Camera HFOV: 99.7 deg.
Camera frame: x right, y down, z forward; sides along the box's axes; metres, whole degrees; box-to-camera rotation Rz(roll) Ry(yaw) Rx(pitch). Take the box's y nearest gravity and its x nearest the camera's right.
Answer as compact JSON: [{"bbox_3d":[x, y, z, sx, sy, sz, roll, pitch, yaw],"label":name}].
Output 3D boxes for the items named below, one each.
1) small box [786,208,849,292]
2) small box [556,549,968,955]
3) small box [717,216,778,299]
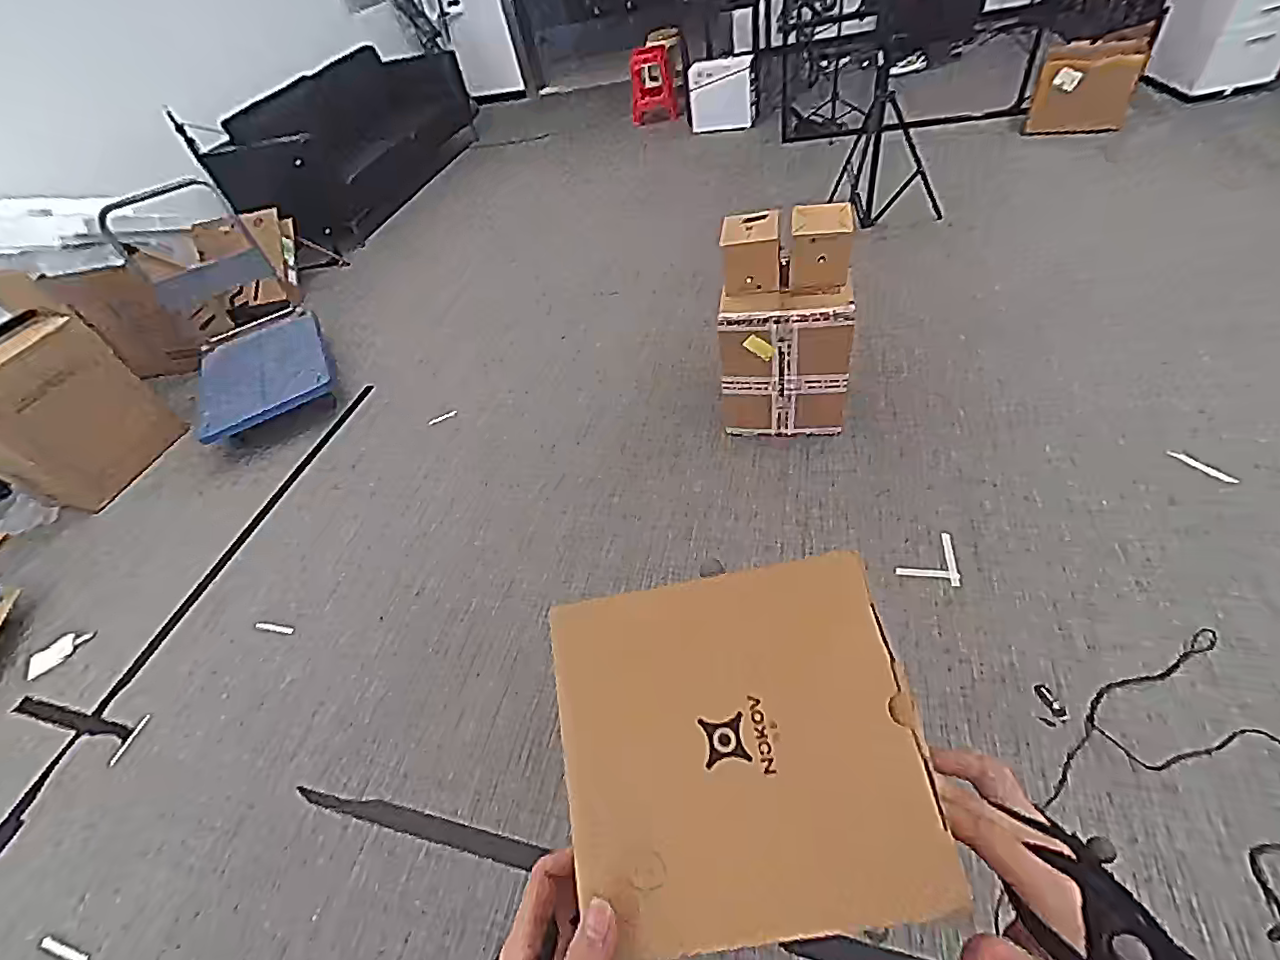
[{"bbox_3d":[0.525,-0.687,1.615,0.168,0.176,0.179,3,51,13],"label":"small box"},{"bbox_3d":[0.059,0.157,0.345,0.179,0.176,0.168,-11,67,3],"label":"small box"},{"bbox_3d":[0.335,-0.681,1.660,0.168,0.176,0.179,-1,50,17],"label":"small box"}]
